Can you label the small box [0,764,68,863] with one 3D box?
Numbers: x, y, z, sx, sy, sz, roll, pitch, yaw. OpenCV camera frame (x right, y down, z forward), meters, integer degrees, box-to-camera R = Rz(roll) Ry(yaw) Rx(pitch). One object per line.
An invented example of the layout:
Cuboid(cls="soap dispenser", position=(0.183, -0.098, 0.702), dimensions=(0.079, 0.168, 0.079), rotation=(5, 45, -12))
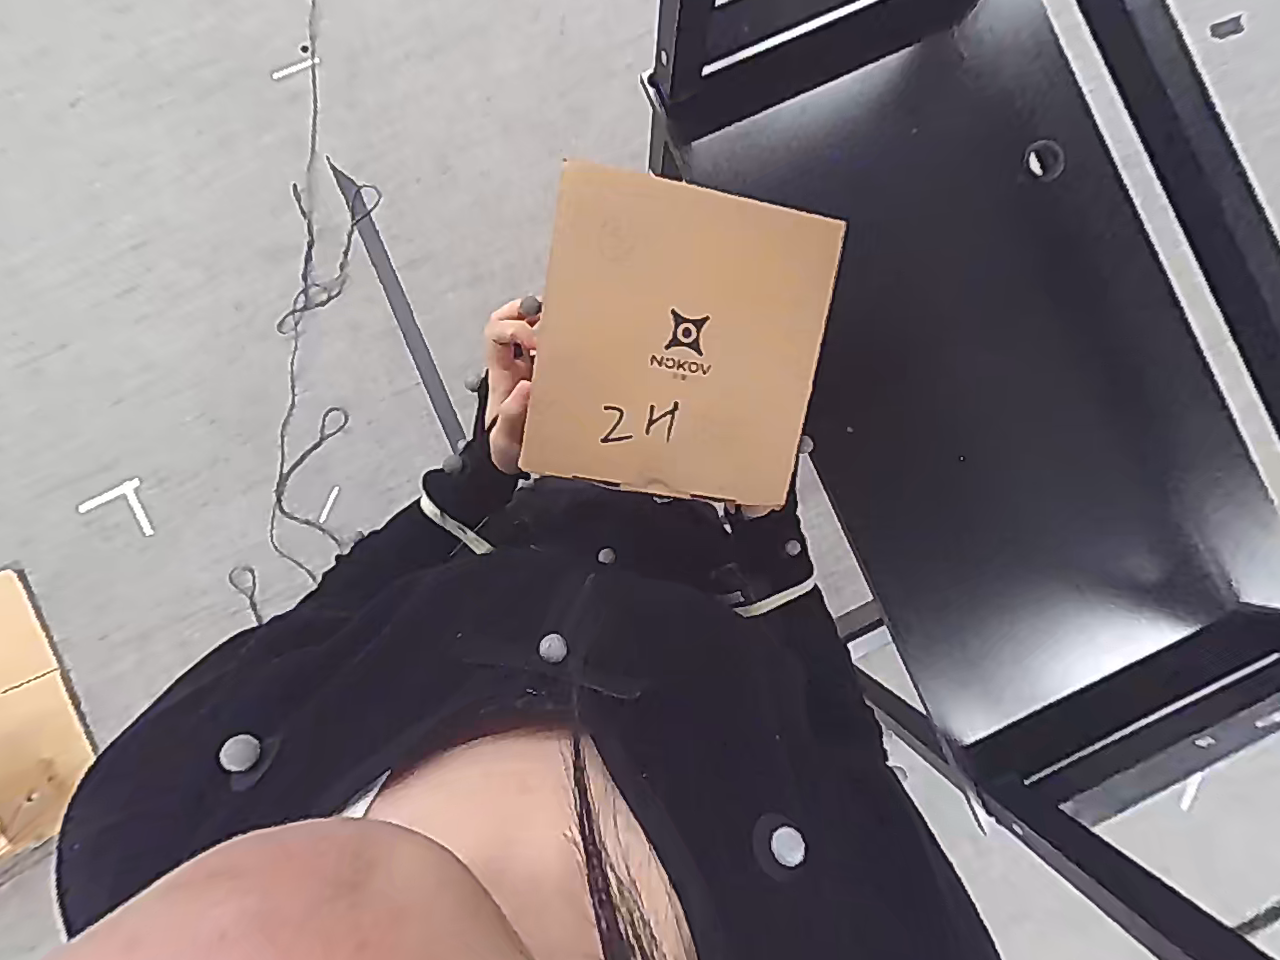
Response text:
Cuboid(cls="small box", position=(-1.578, 0.842, 1.322), dimensions=(0.179, 0.176, 0.168), rotation=(-37, 90, -3))
